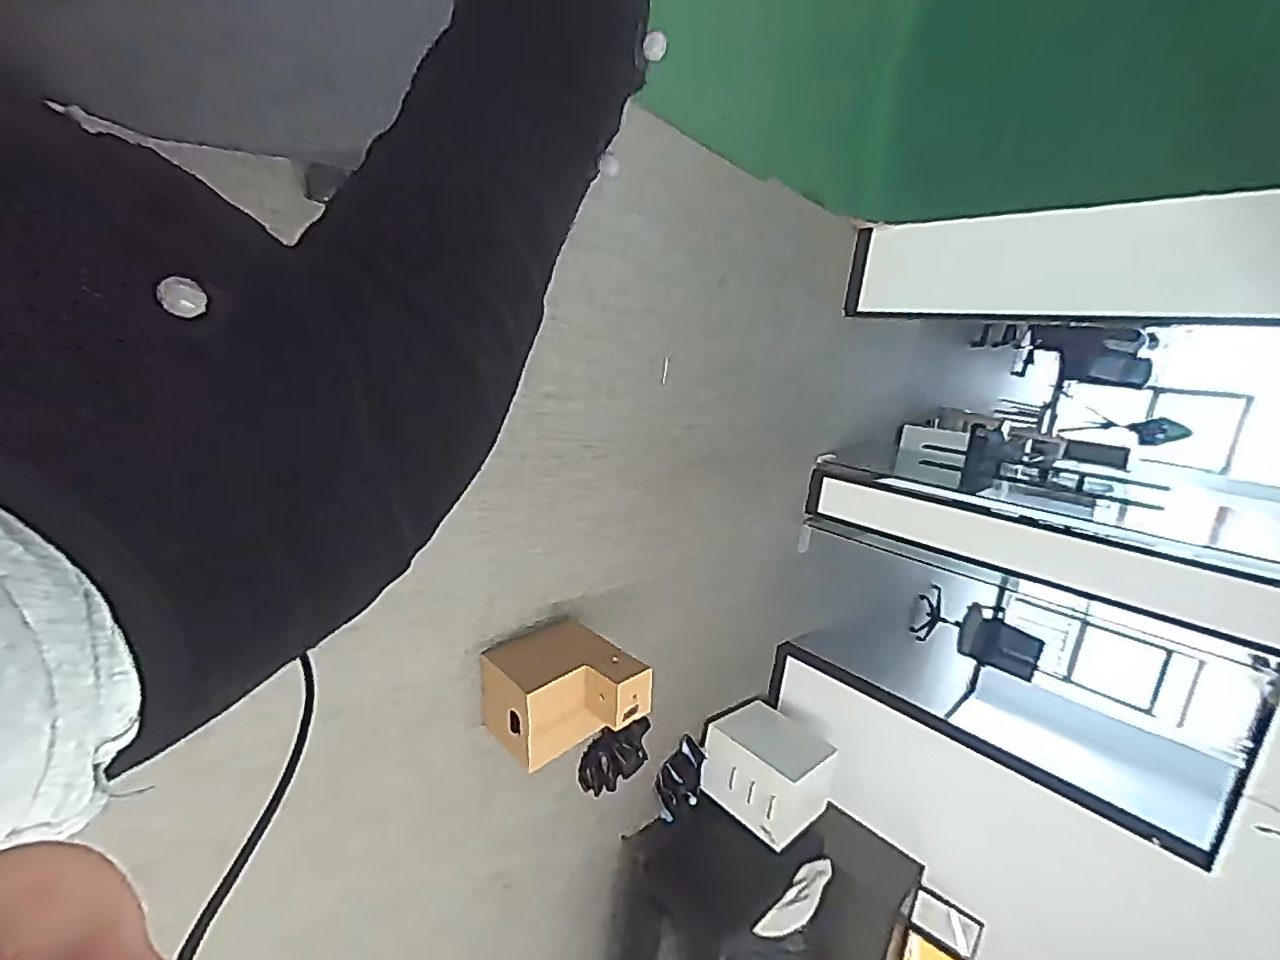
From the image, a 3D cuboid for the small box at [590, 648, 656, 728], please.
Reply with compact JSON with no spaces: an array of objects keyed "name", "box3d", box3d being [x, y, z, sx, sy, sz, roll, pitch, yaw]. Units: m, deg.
[{"name":"small box","box3d":[-0.062,0.721,1.894,0.168,0.176,0.179,-11,105,-45]}]
